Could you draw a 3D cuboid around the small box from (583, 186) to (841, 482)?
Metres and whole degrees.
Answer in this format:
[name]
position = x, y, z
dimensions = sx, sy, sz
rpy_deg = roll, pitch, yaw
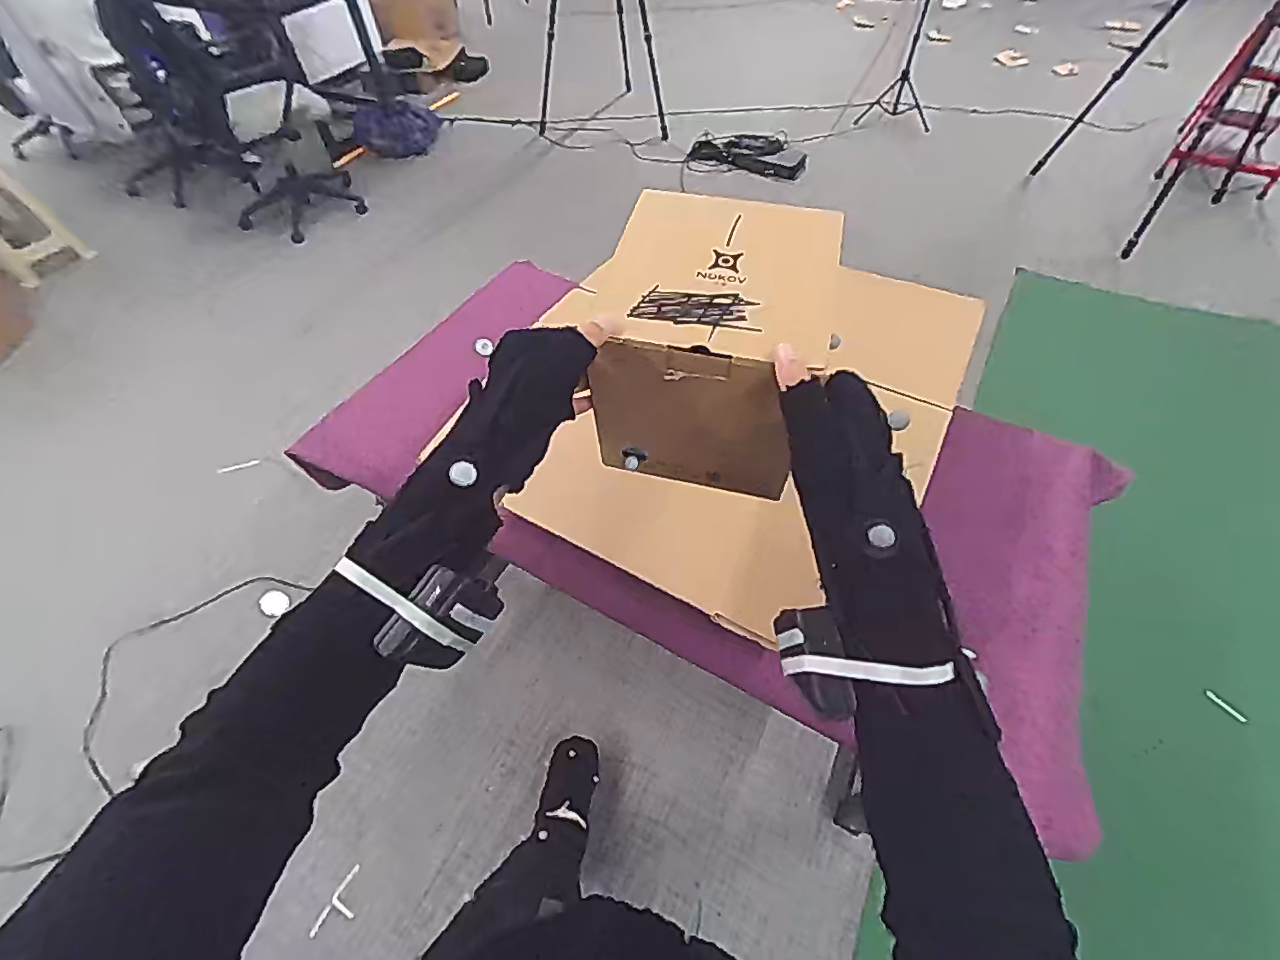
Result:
[small box]
position = 0.064, -0.120, 0.472
dimensions = 0.168, 0.176, 0.179
rpy_deg = 12, 60, 9
